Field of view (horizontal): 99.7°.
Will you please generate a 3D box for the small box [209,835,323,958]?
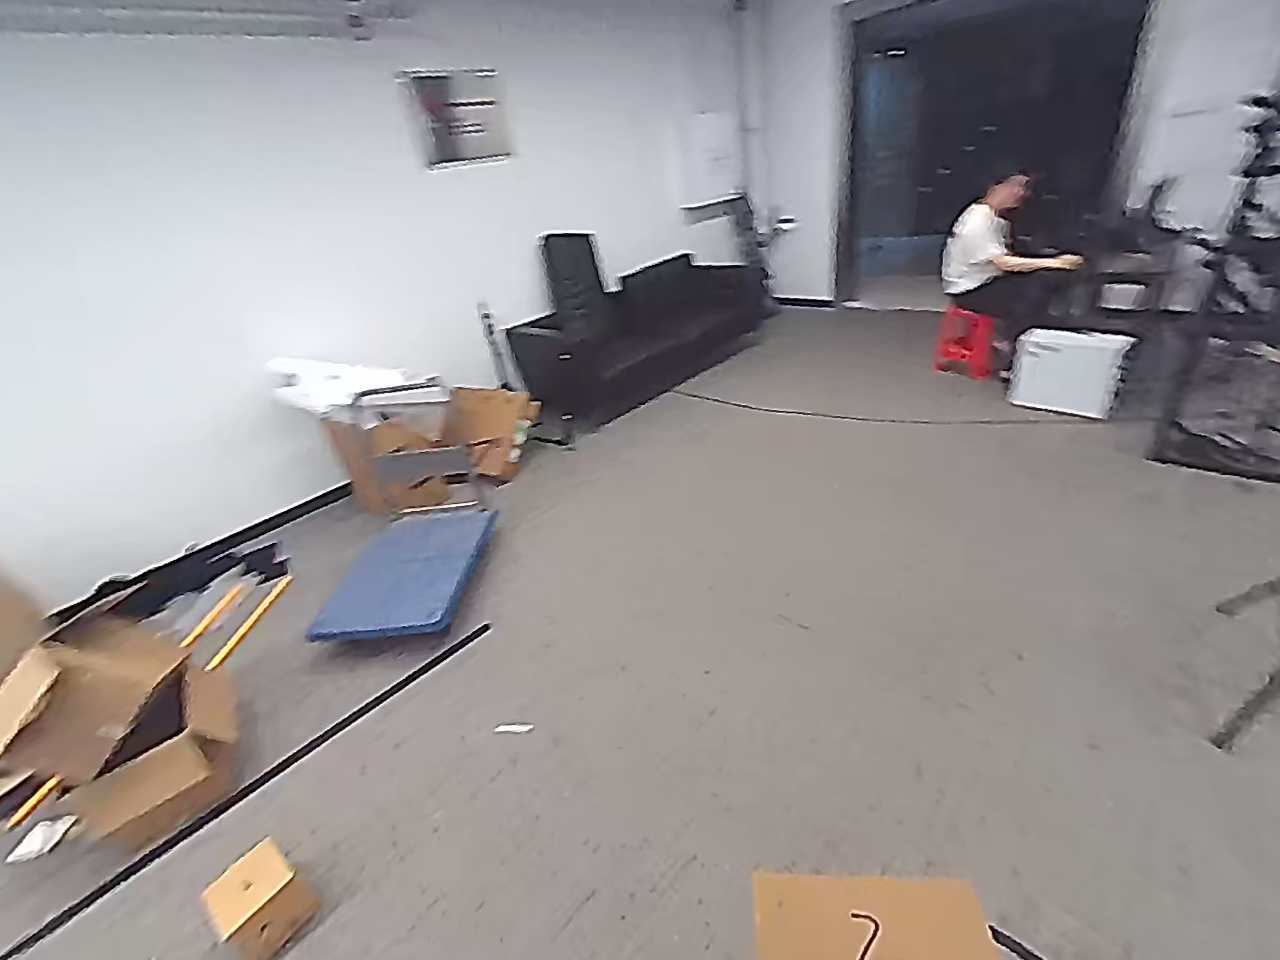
[{"bbox_3d":[-0.968,1.089,1.410,0.179,0.176,0.168,14,37,37],"label":"small box"}]
